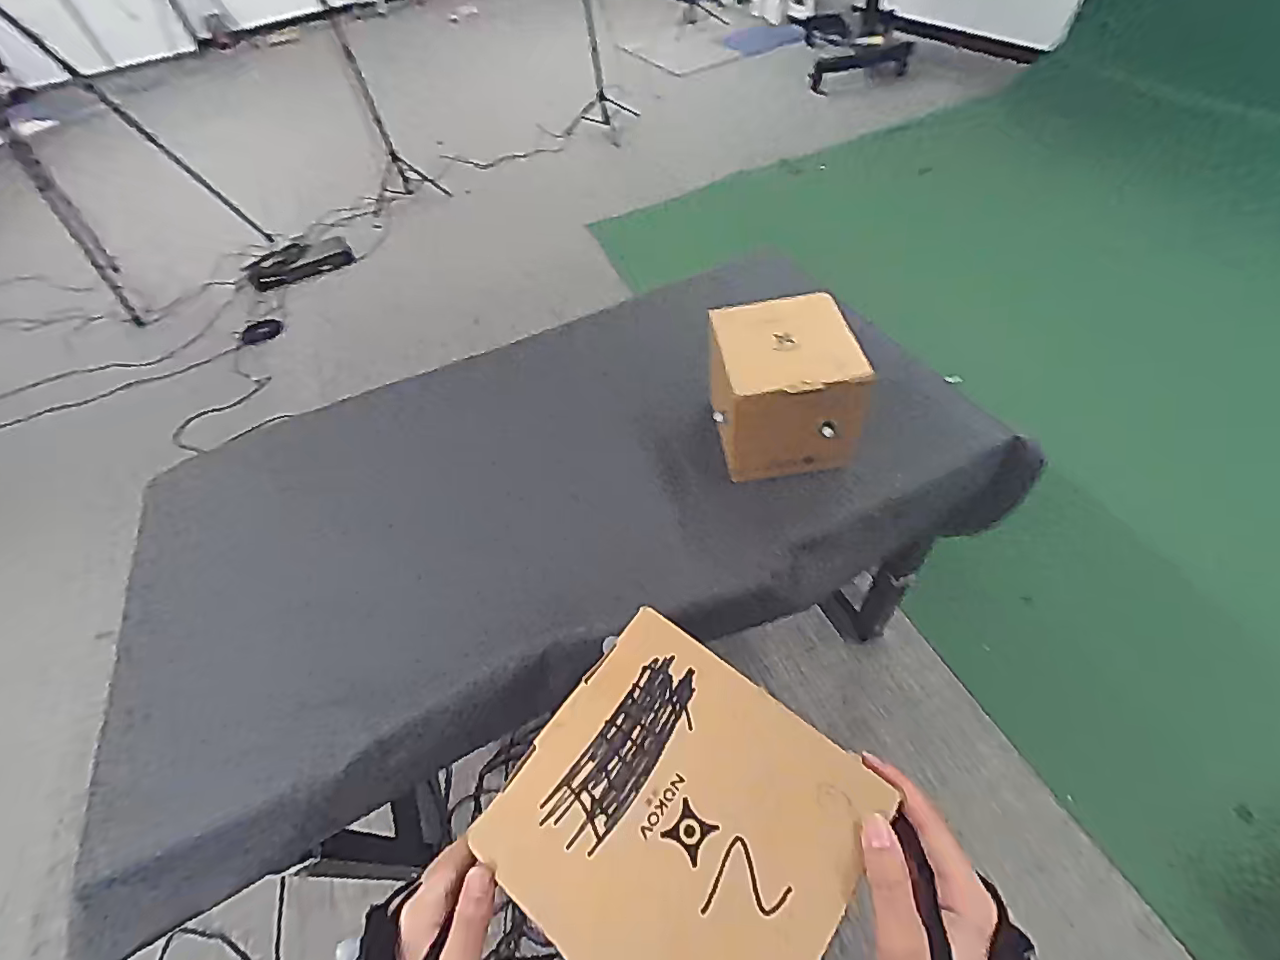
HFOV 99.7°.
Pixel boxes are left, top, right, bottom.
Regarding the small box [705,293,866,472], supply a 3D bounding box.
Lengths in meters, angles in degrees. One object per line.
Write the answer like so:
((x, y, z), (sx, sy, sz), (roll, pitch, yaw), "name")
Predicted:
((0.187, -0.126, 0.745), (0.168, 0.176, 0.179), (-9, 50, 1), "small box")
